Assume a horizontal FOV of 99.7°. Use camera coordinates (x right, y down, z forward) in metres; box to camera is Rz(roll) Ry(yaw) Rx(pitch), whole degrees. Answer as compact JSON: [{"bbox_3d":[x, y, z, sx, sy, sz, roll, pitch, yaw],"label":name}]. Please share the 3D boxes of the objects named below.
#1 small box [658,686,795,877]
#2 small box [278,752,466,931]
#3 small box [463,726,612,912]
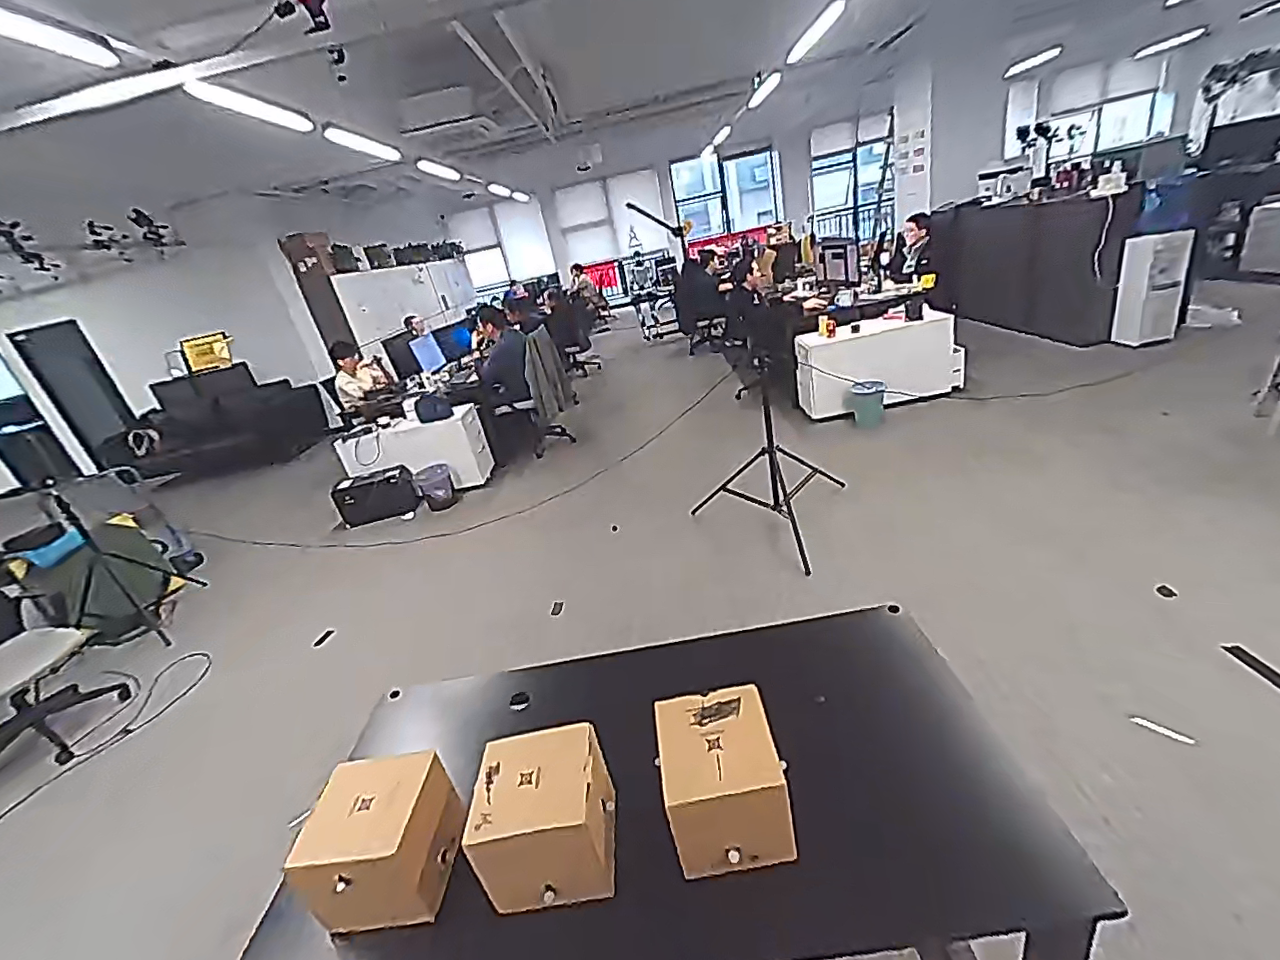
[{"bbox_3d":[0.125,0.449,0.817,0.168,0.176,0.179,-12,24,2],"label":"small box"},{"bbox_3d":[-0.399,0.559,0.838,0.179,0.176,0.168,-9,25,5],"label":"small box"},{"bbox_3d":[-0.140,0.509,0.820,0.179,0.176,0.168,-11,24,2],"label":"small box"}]
